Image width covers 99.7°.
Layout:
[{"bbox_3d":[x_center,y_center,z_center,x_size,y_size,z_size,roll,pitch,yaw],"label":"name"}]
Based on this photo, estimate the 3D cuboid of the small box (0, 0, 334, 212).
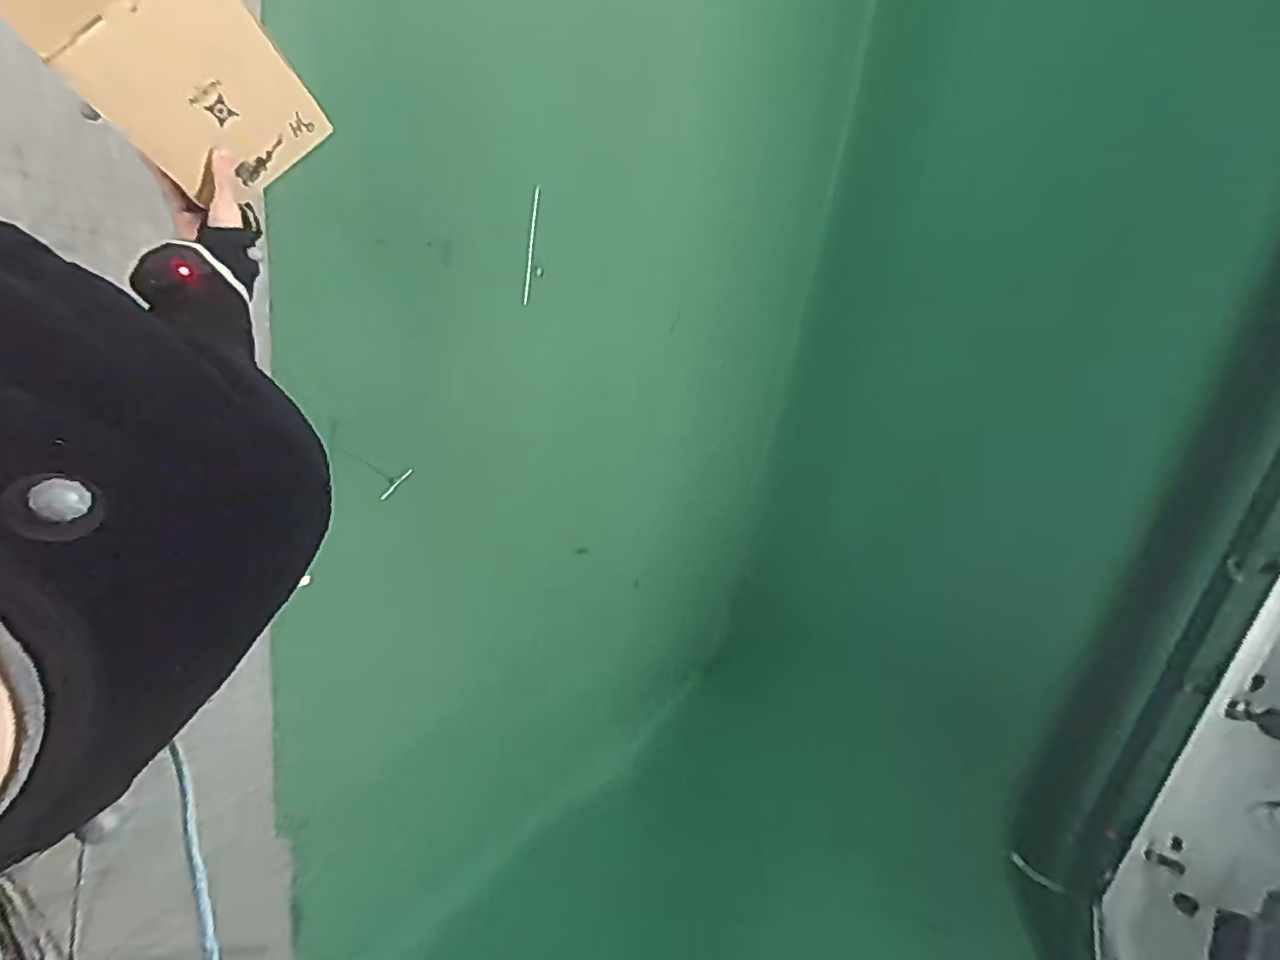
[{"bbox_3d":[-0.469,-0.423,0.543,0.168,0.176,0.179,-47,164,-8],"label":"small box"}]
